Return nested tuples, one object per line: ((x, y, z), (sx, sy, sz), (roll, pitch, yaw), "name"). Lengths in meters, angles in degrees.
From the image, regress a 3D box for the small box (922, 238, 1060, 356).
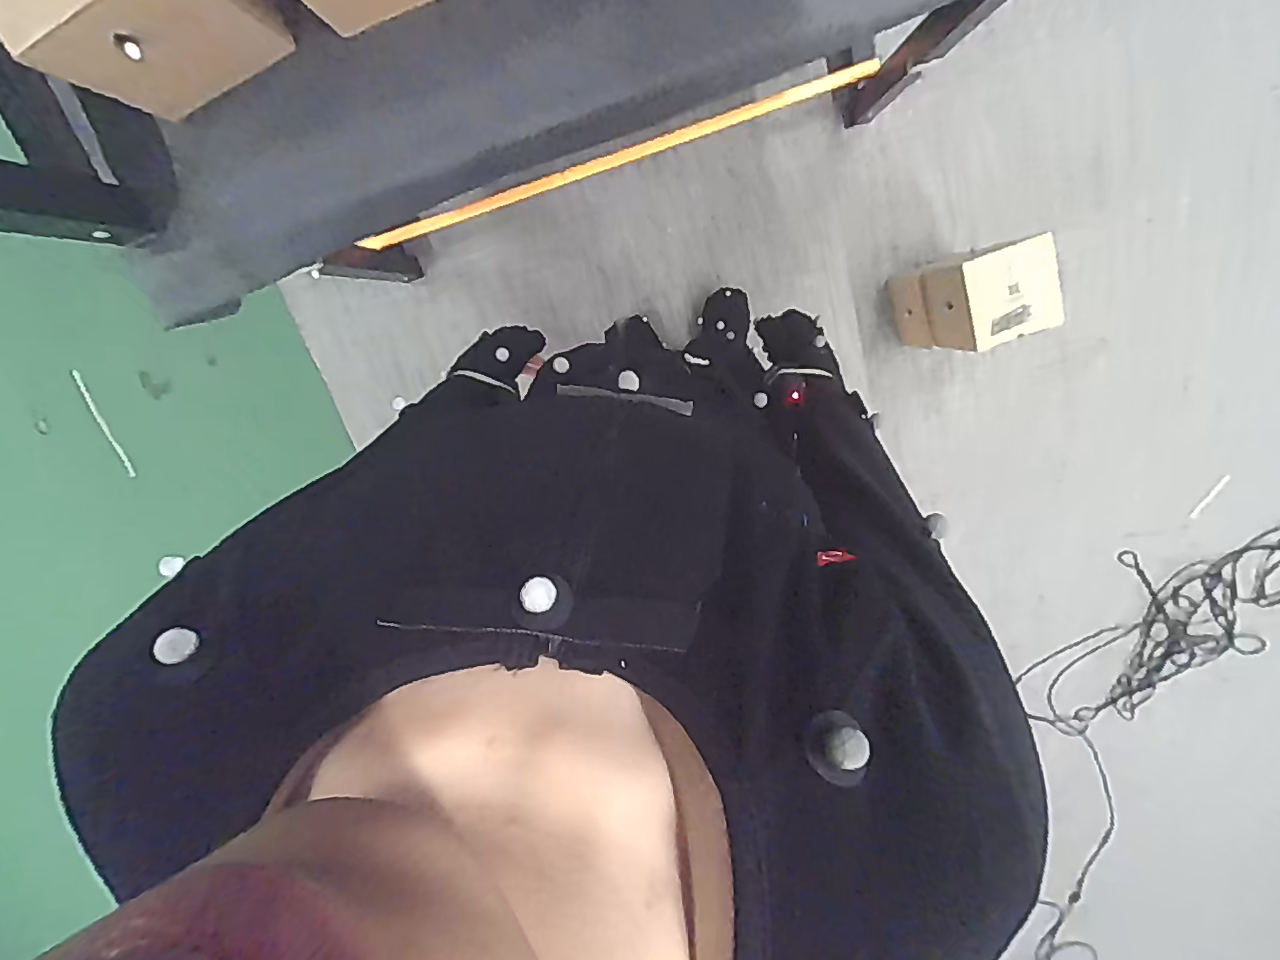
((0.703, -0.367, 1.097), (0.168, 0.176, 0.179), (-18, 105, 8), "small box")
